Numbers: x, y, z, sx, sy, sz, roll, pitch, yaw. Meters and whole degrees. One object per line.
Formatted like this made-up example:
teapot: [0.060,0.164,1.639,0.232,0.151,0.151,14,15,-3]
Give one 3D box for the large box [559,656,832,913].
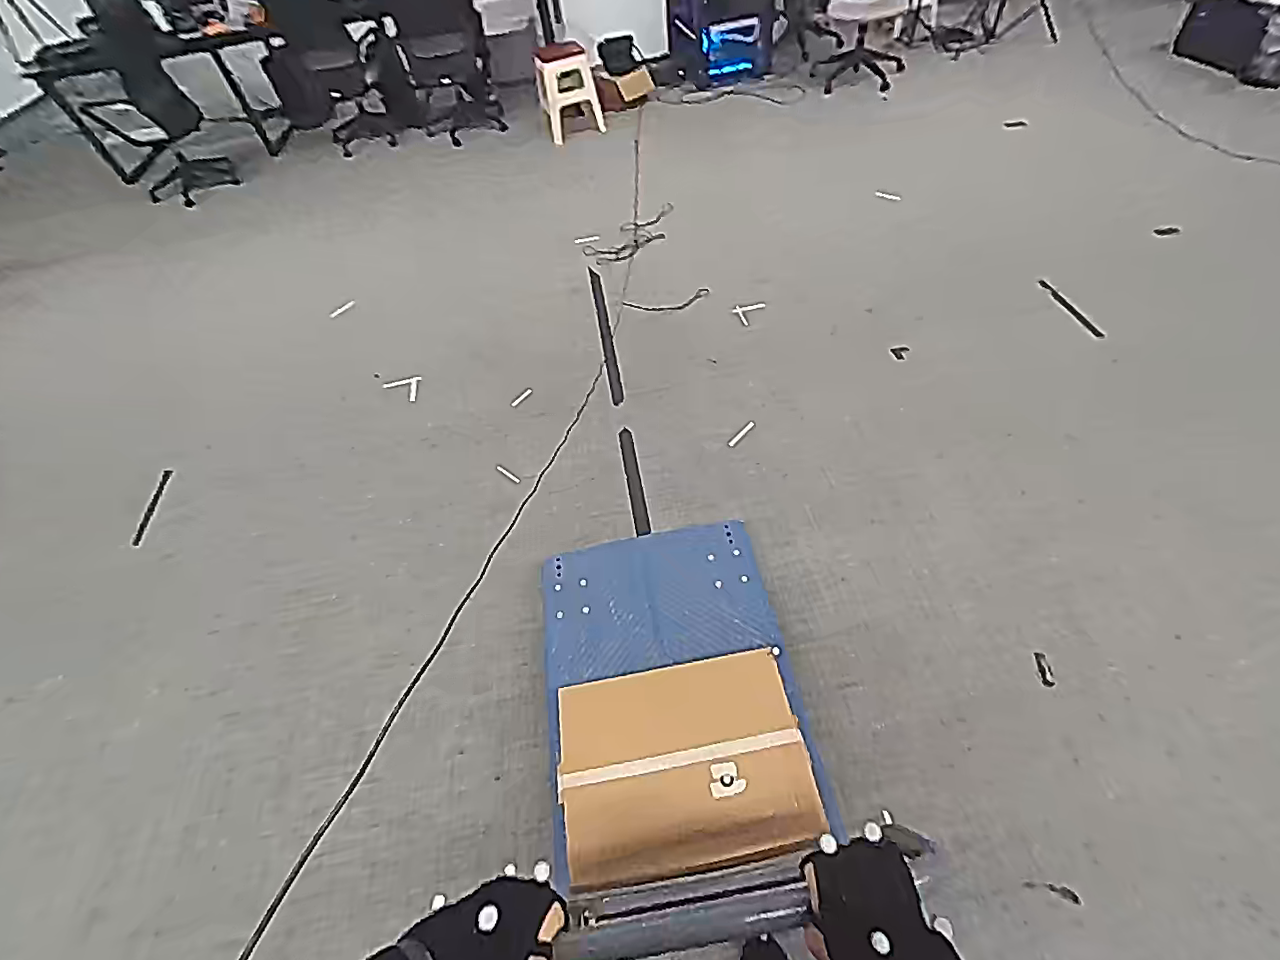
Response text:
large box: [0.085,0.572,1.008,0.408,0.320,0.320,-11,51,-1]
